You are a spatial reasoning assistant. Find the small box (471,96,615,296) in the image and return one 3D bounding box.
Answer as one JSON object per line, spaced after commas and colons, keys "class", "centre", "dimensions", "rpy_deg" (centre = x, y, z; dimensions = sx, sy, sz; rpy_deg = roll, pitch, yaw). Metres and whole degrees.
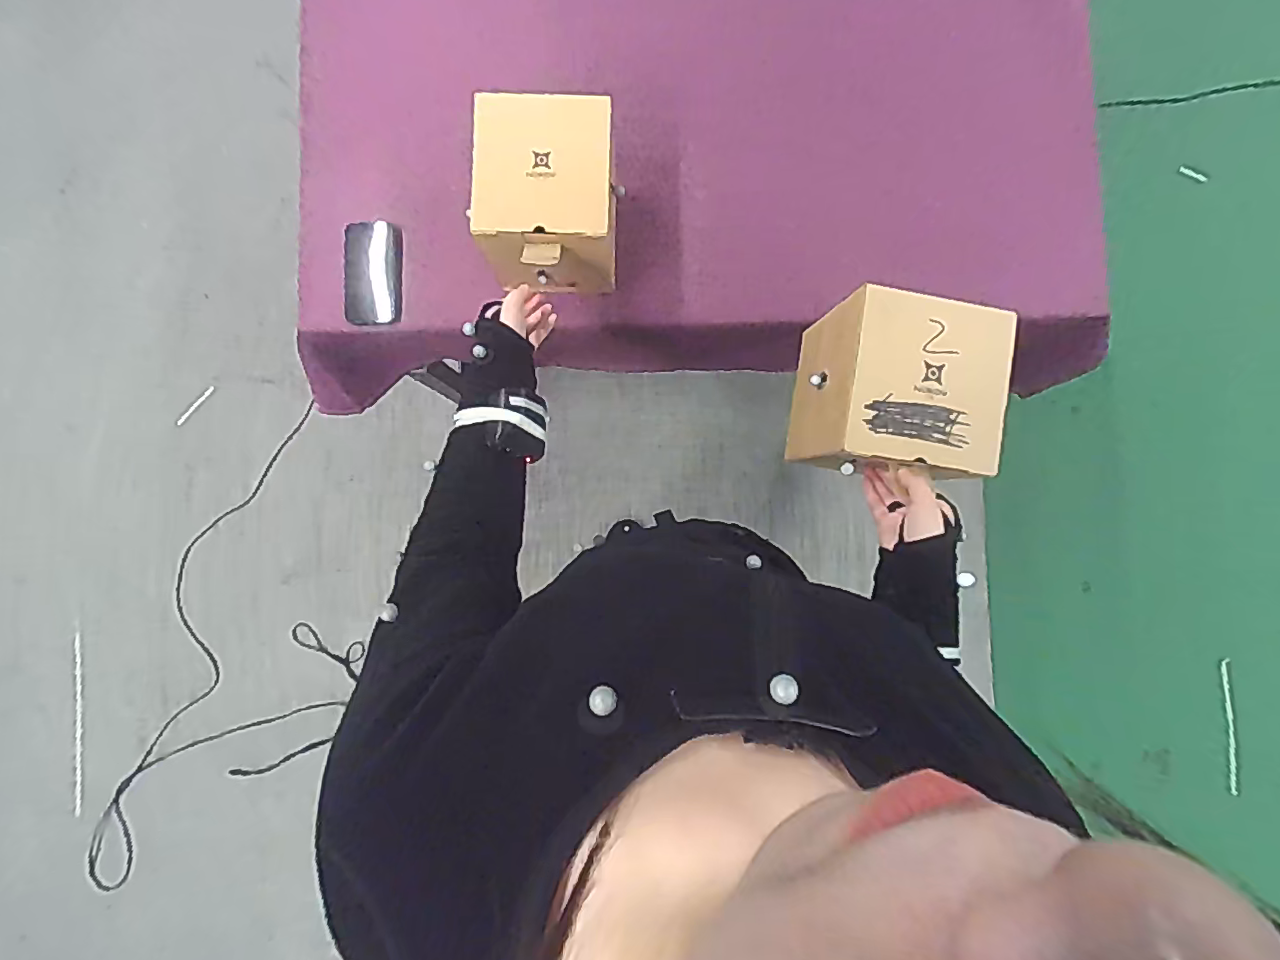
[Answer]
{"class": "small box", "centre": [-0.119, -0.367, 0.726], "dimensions": [0.168, 0.176, 0.179], "rpy_deg": [1, 87, -2]}
